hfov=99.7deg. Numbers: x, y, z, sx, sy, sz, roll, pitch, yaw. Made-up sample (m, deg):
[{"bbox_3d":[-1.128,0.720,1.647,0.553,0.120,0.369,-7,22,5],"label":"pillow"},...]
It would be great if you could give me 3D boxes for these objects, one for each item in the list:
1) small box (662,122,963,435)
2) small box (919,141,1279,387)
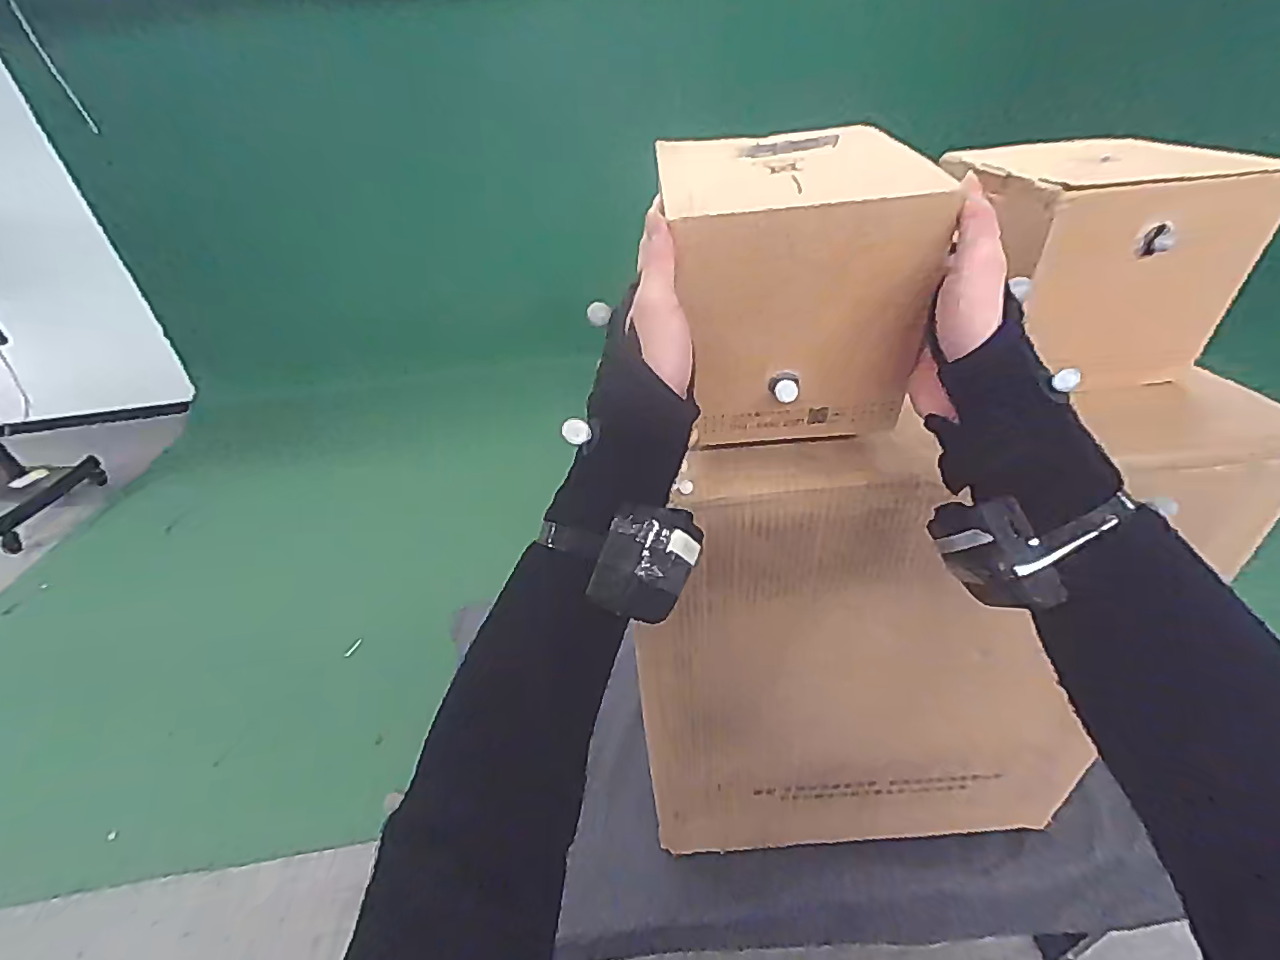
[{"bbox_3d":[0.103,-0.154,0.414,0.168,0.176,0.179,-4,43,4],"label":"small box"},{"bbox_3d":[0.366,-0.193,0.483,0.179,0.176,0.168,-4,38,-2],"label":"small box"}]
